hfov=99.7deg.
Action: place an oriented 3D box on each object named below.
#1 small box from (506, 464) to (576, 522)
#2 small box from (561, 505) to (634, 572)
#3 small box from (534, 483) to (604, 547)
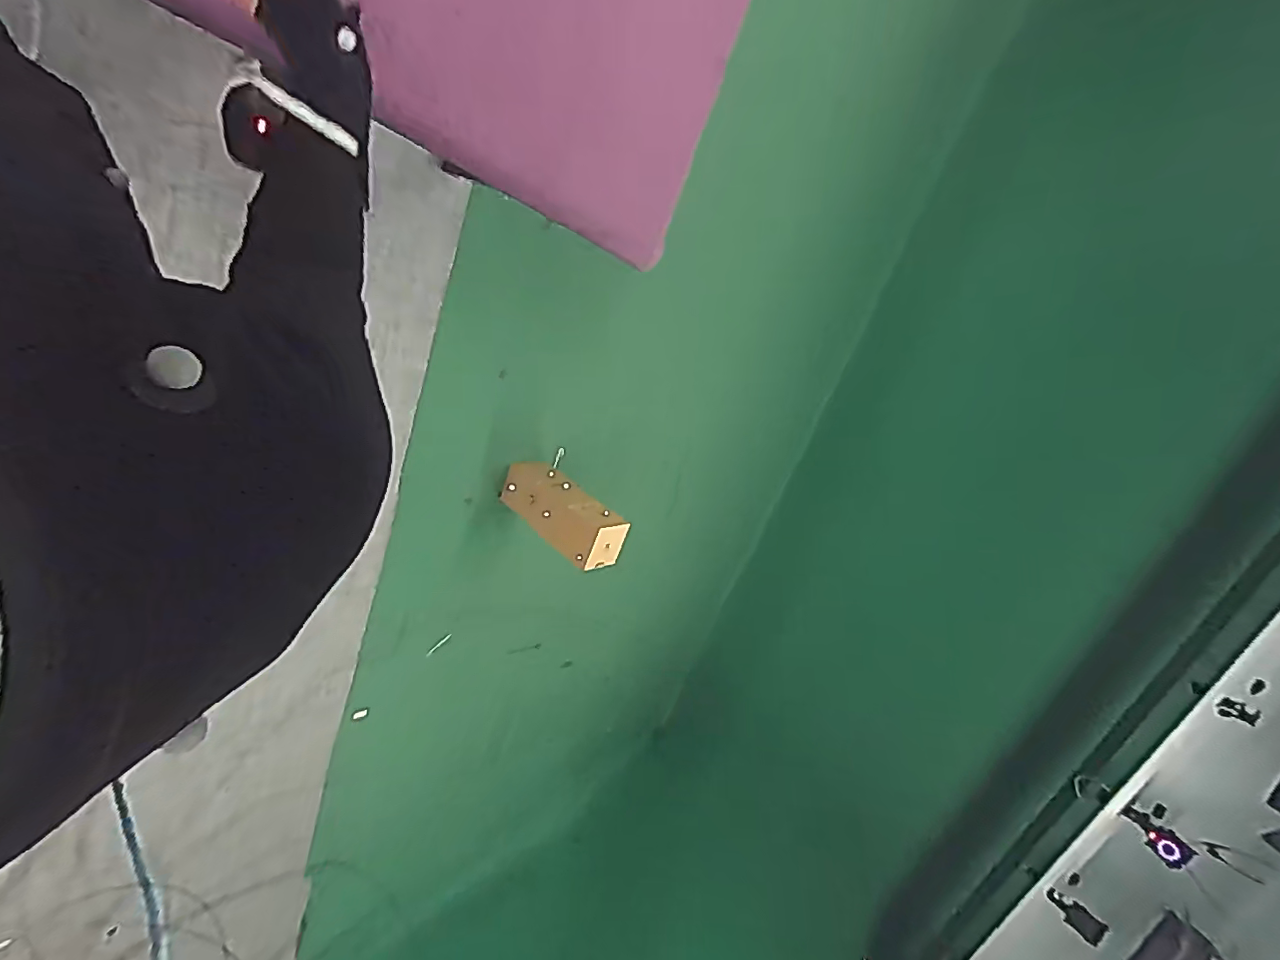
[{"bbox_3d":[-0.385,0.045,2.100,0.179,0.176,0.168,-2,119,-51],"label":"small box"},{"bbox_3d":[-0.155,0.200,1.928,0.168,0.176,0.179,-4,122,-51],"label":"small box"},{"bbox_3d":[-0.269,0.128,2.014,0.168,0.176,0.179,-1,119,-54],"label":"small box"}]
